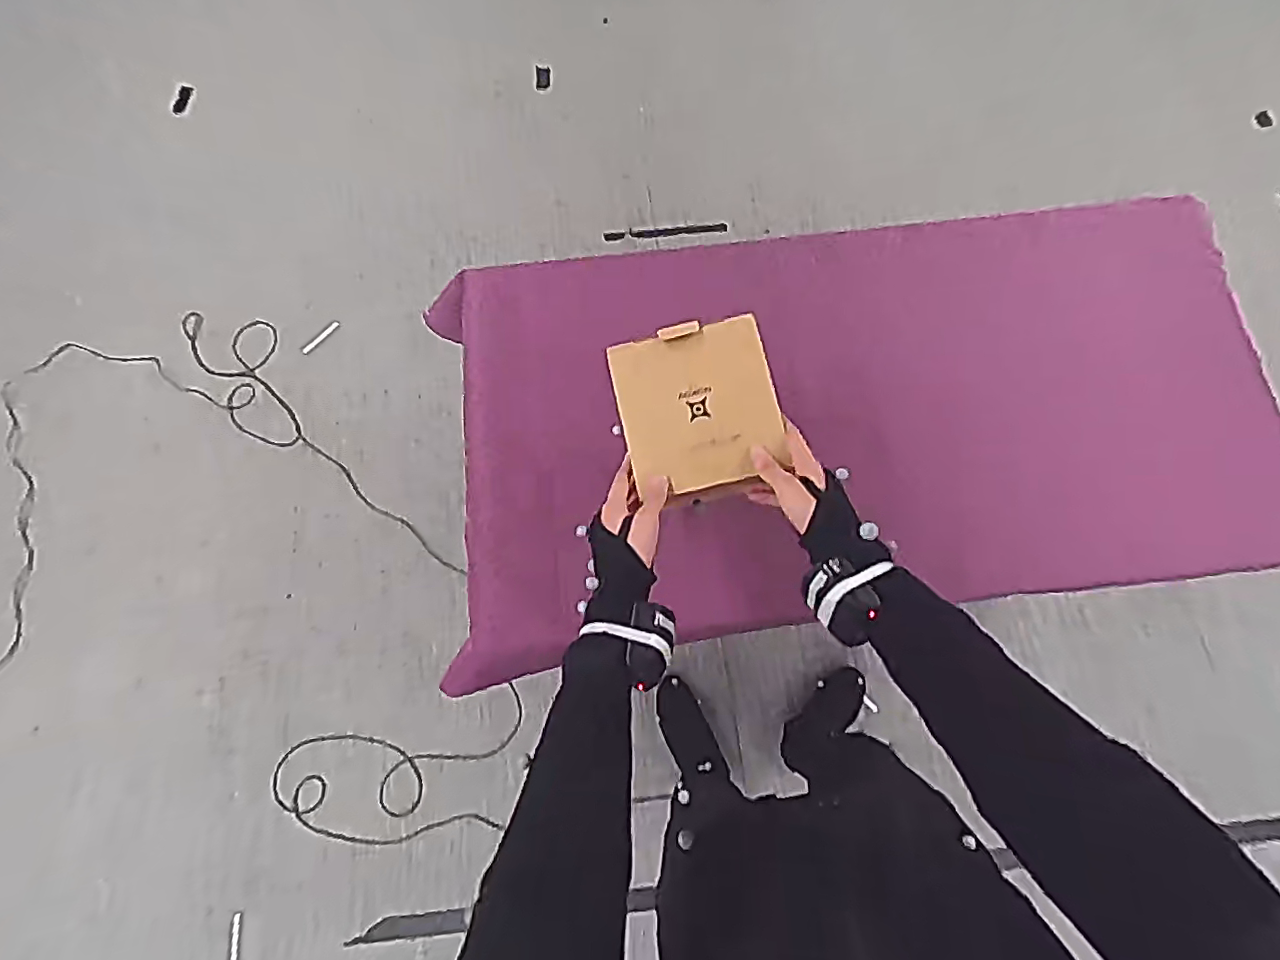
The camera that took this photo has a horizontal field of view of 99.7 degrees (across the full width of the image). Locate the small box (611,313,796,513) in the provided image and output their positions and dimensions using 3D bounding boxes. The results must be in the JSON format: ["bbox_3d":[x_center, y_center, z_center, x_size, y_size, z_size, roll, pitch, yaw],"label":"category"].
[{"bbox_3d":[0.067,-0.067,0.638,0.168,0.176,0.179,-12,81,2],"label":"small box"}]
